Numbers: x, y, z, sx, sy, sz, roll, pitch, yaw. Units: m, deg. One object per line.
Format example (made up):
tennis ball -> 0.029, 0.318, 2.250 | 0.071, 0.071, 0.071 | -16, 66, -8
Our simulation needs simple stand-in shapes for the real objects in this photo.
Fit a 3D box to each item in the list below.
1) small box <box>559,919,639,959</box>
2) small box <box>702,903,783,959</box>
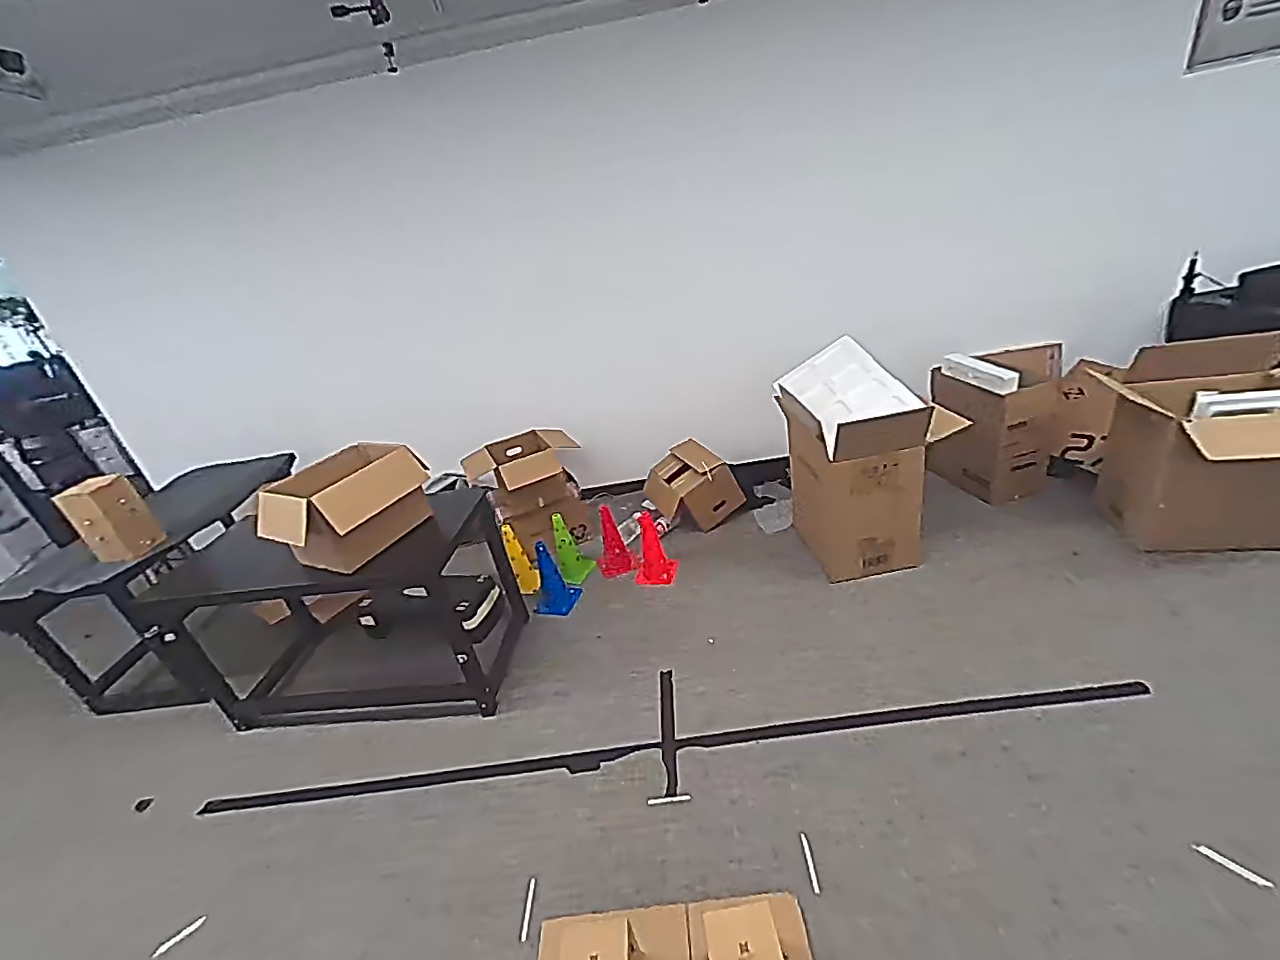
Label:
small box -> -0.094, 1.182, 1.269 | 0.168, 0.176, 0.179 | -10, 27, 3
small box -> 0.246, 1.132, 1.249 | 0.168, 0.176, 0.179 | -11, 26, 0
